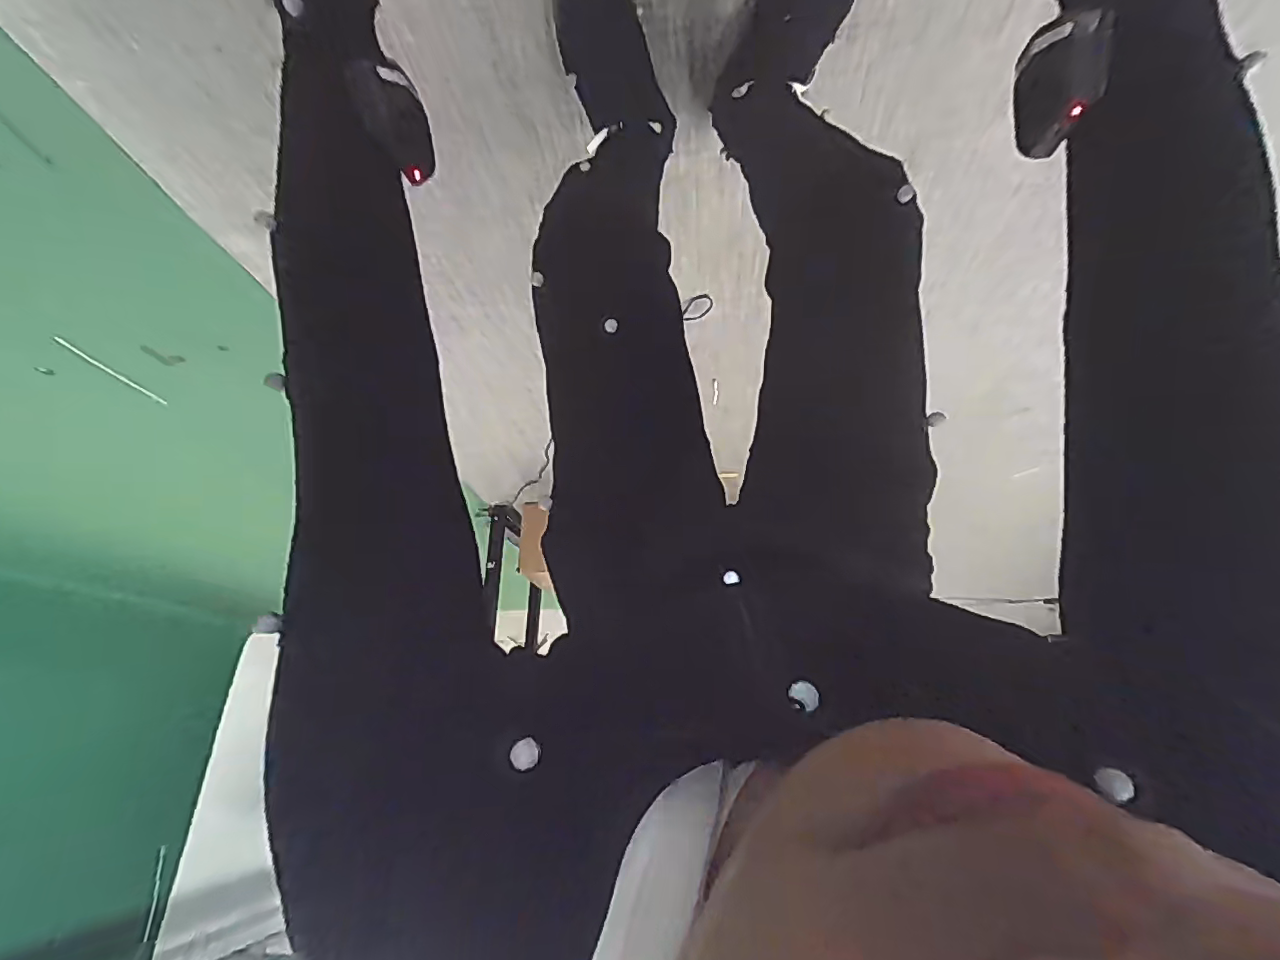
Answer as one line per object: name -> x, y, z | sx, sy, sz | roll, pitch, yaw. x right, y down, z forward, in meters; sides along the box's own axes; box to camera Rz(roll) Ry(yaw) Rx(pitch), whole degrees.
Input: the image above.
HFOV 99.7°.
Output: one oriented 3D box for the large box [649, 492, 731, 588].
large box -> 0.226, 0.272, 2.376 | 0.320, 0.320, 0.408 | -4, 156, 9
